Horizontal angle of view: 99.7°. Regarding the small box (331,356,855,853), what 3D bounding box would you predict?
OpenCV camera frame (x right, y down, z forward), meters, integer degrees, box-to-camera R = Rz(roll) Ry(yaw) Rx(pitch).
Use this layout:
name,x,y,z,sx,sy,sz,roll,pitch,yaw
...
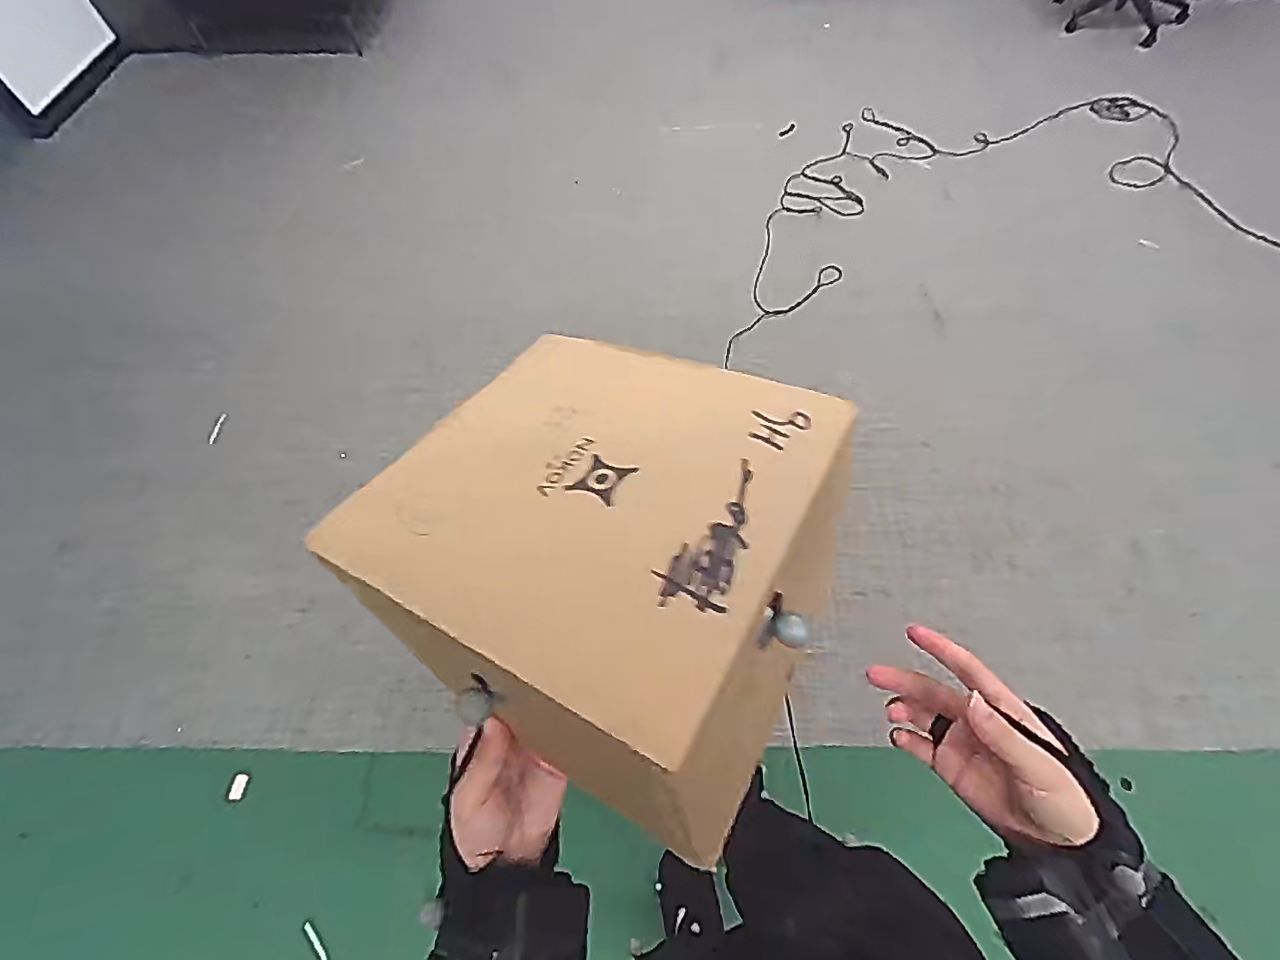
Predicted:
name,x,y,z,sx,sy,sz,roll,pitch,yaw
small box,-0.007,0.061,0.288,0.179,0.176,0.168,18,53,27
